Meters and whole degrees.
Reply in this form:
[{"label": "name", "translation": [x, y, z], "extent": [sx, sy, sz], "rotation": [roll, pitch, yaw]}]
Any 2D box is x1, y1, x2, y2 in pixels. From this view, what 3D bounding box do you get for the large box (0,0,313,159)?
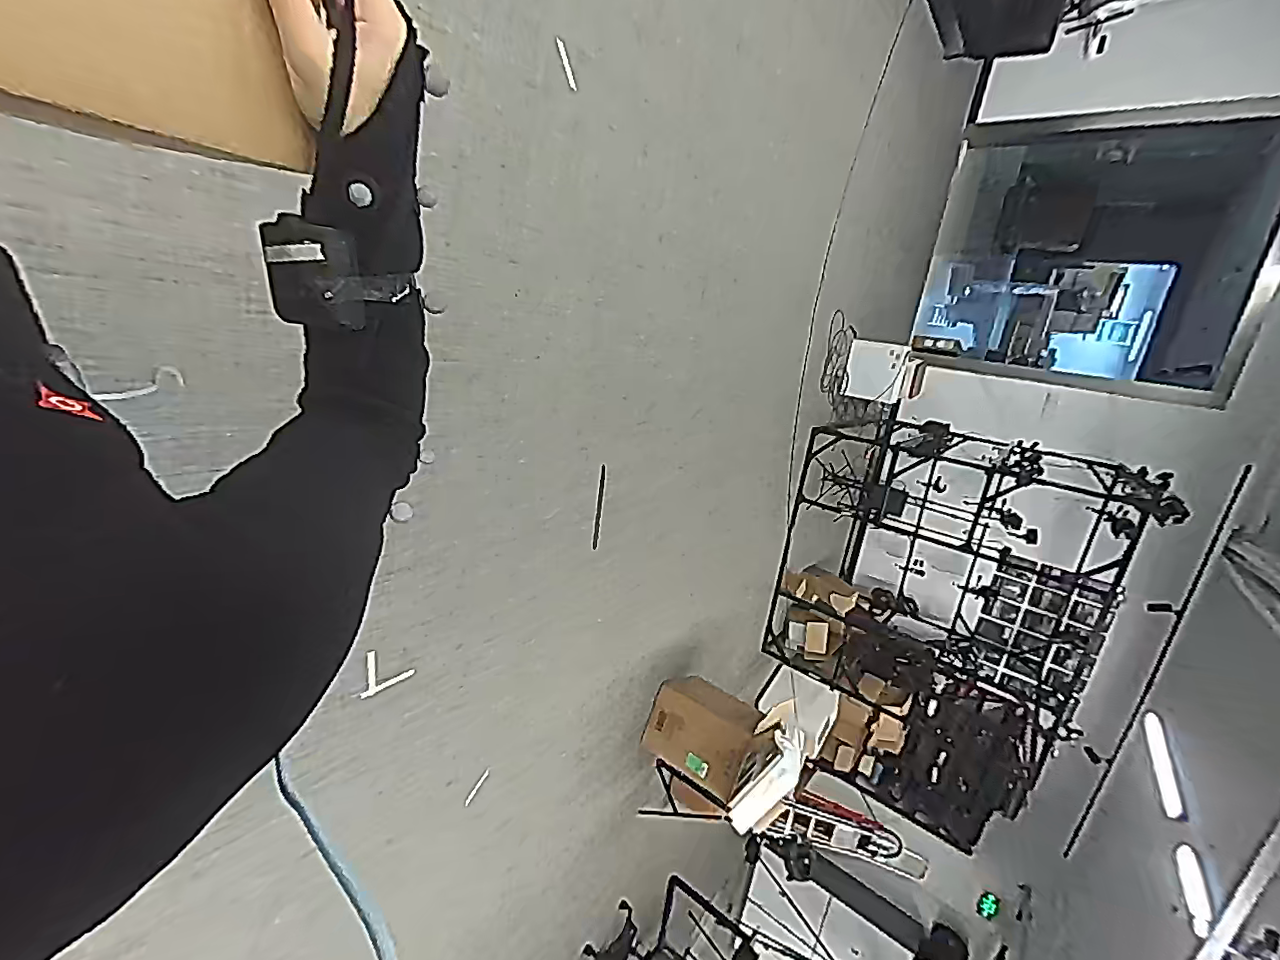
[{"label": "large box", "translation": [-0.399, -0.344, 0.181], "extent": [0.408, 0.320, 0.320], "rotation": [-19, 128, -55]}]
